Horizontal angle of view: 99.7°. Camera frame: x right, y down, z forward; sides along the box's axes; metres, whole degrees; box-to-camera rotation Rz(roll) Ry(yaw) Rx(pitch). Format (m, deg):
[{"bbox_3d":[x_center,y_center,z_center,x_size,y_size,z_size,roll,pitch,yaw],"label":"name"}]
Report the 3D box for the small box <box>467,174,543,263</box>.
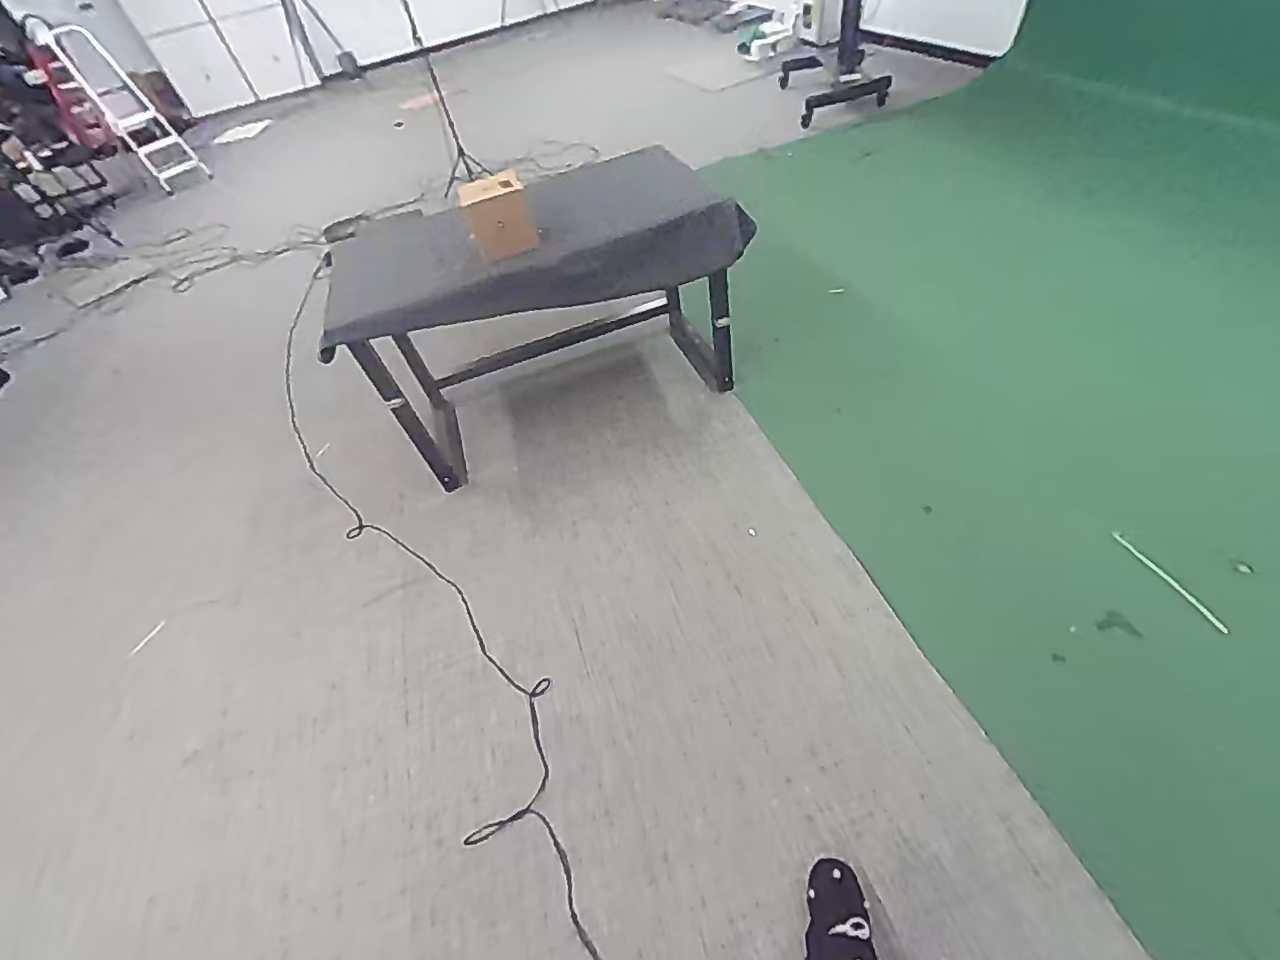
[{"bbox_3d":[-0.391,-0.763,1.582,0.179,0.176,0.168,-18,46,-3],"label":"small box"}]
